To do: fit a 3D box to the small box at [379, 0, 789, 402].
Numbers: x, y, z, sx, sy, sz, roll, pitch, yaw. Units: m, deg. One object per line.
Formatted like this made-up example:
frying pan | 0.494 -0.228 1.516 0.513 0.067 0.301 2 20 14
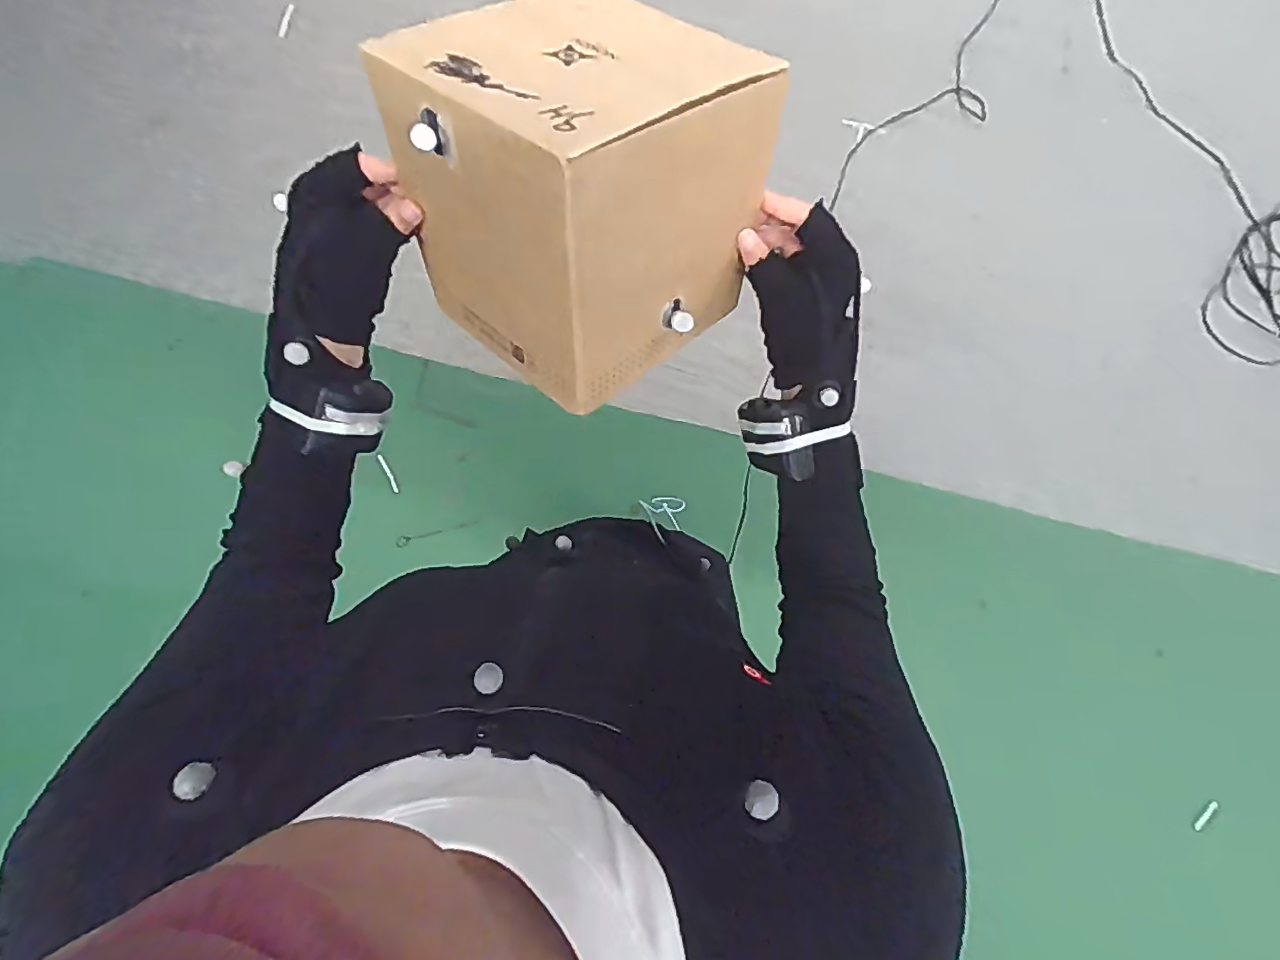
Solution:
small box | -0.034 -0.189 0.369 0.168 0.176 0.179 39 61 21
